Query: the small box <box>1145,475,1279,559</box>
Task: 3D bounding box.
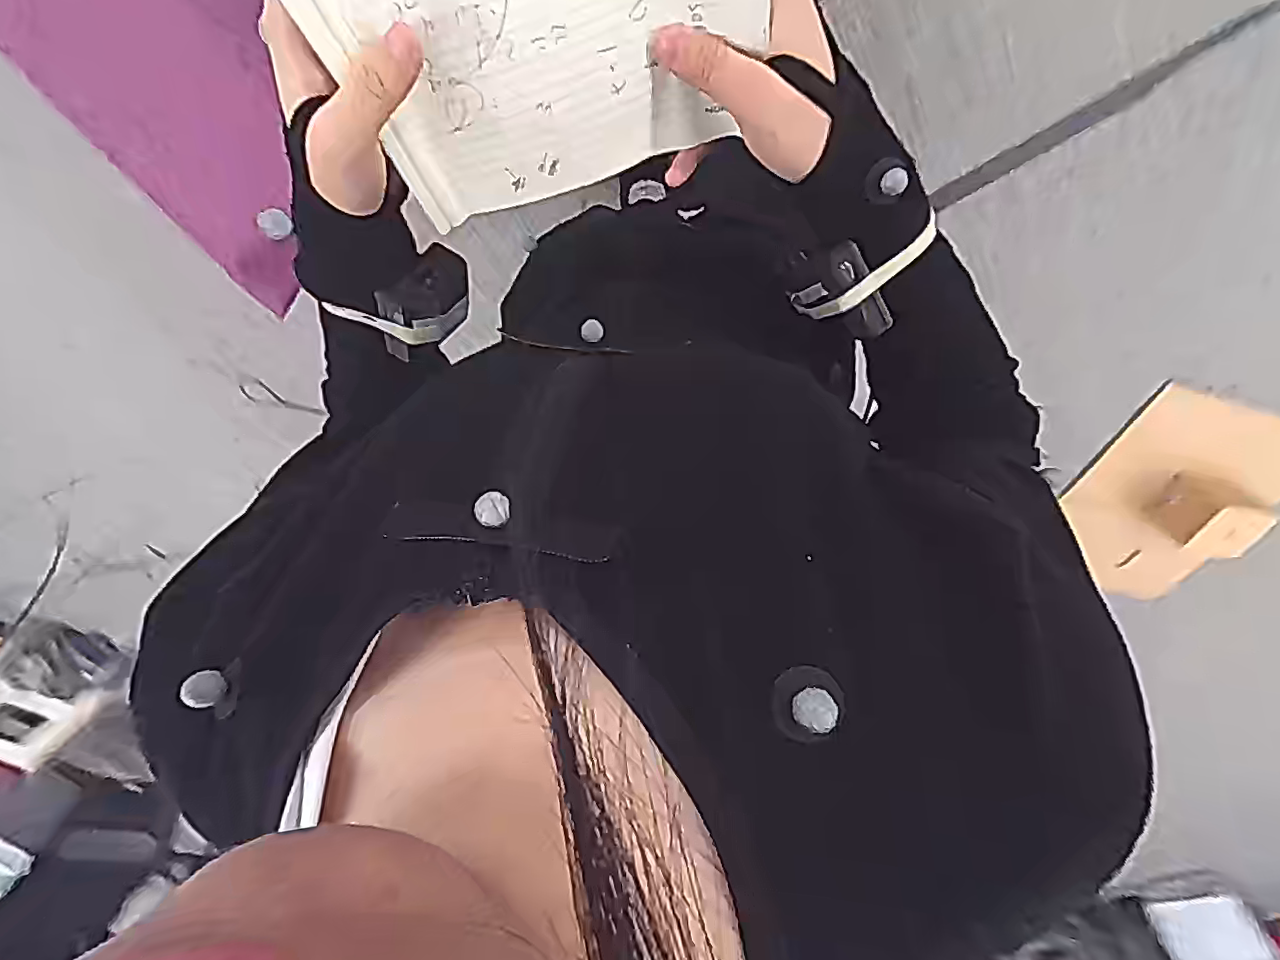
[{"bbox_3d":[1.650,0.102,1.566,0.179,0.176,0.168,9,126,-2],"label":"small box"}]
